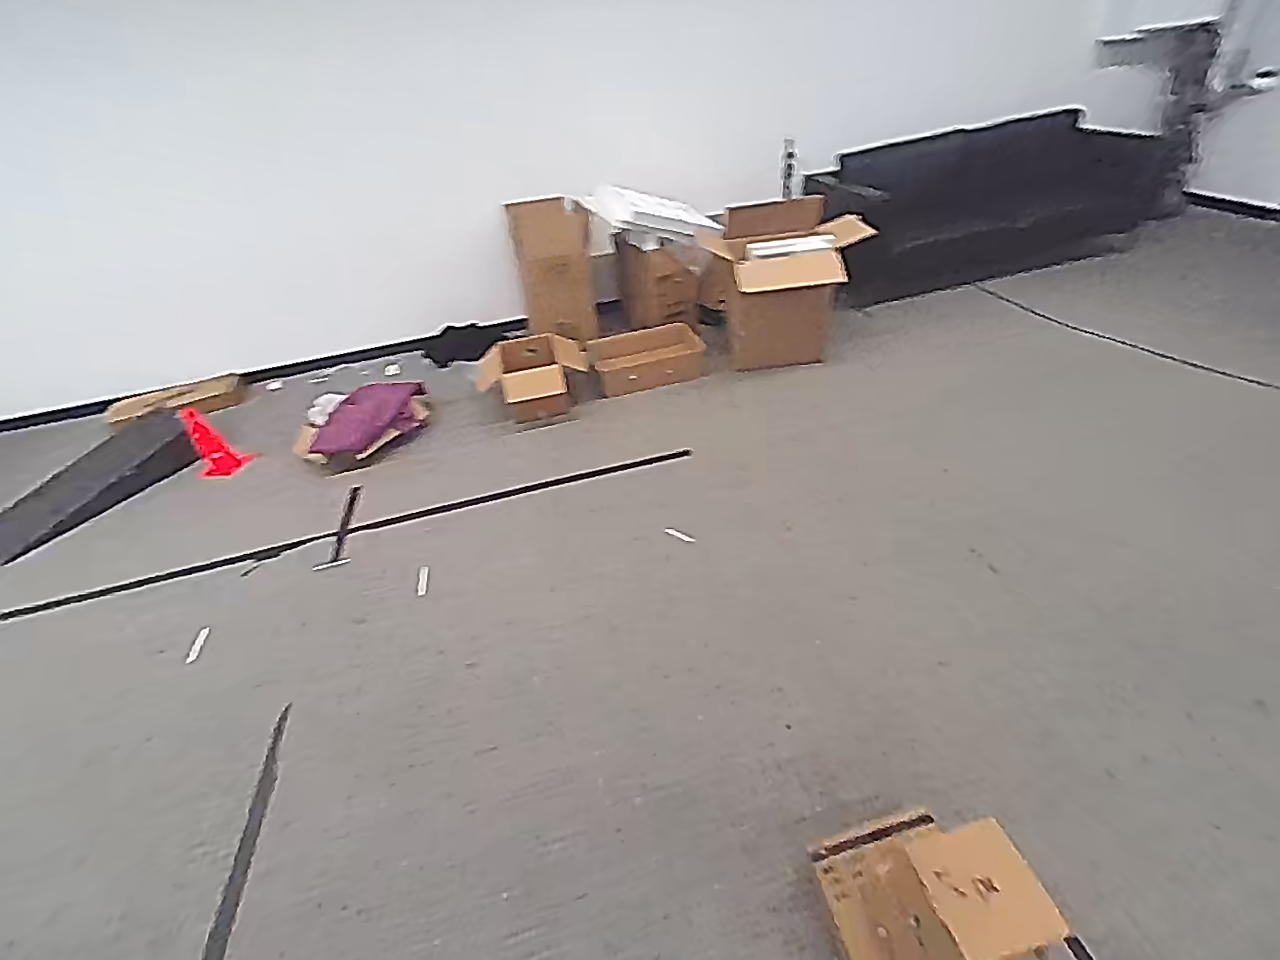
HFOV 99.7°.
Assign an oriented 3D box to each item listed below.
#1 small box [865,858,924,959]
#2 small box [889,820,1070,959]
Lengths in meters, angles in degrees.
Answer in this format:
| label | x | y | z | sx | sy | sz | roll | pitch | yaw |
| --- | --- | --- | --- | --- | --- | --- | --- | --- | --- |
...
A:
| label | x | y | z | sx | sy | sz | roll | pitch | yaw |
| --- | --- | --- | --- | --- | --- | --- | --- | --- | --- |
| small box | 0.558 | 0.828 | 1.028 | 0.179 | 0.176 | 0.168 | -14 | 40 | -7 |
| small box | 0.553 | 0.711 | 0.910 | 0.179 | 0.176 | 0.168 | -12 | 39 | -6 |
